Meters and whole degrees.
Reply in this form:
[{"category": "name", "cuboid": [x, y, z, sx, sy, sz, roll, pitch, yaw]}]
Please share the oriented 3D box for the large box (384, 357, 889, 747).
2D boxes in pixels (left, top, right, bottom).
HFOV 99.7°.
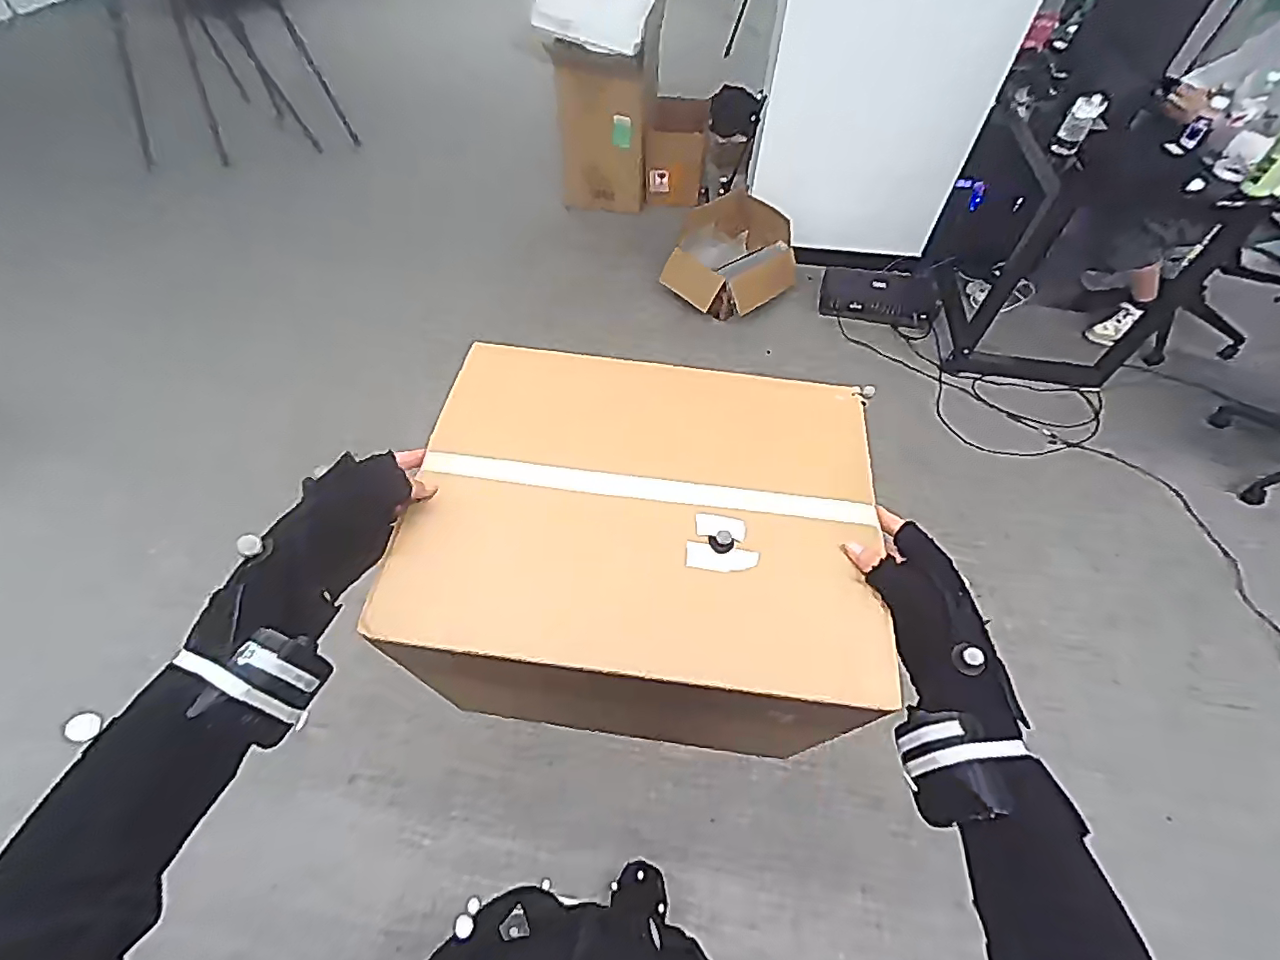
[{"category": "large box", "cuboid": [0.003, 0.096, 0.620, 0.408, 0.320, 0.320, 8, 58, 2]}]
